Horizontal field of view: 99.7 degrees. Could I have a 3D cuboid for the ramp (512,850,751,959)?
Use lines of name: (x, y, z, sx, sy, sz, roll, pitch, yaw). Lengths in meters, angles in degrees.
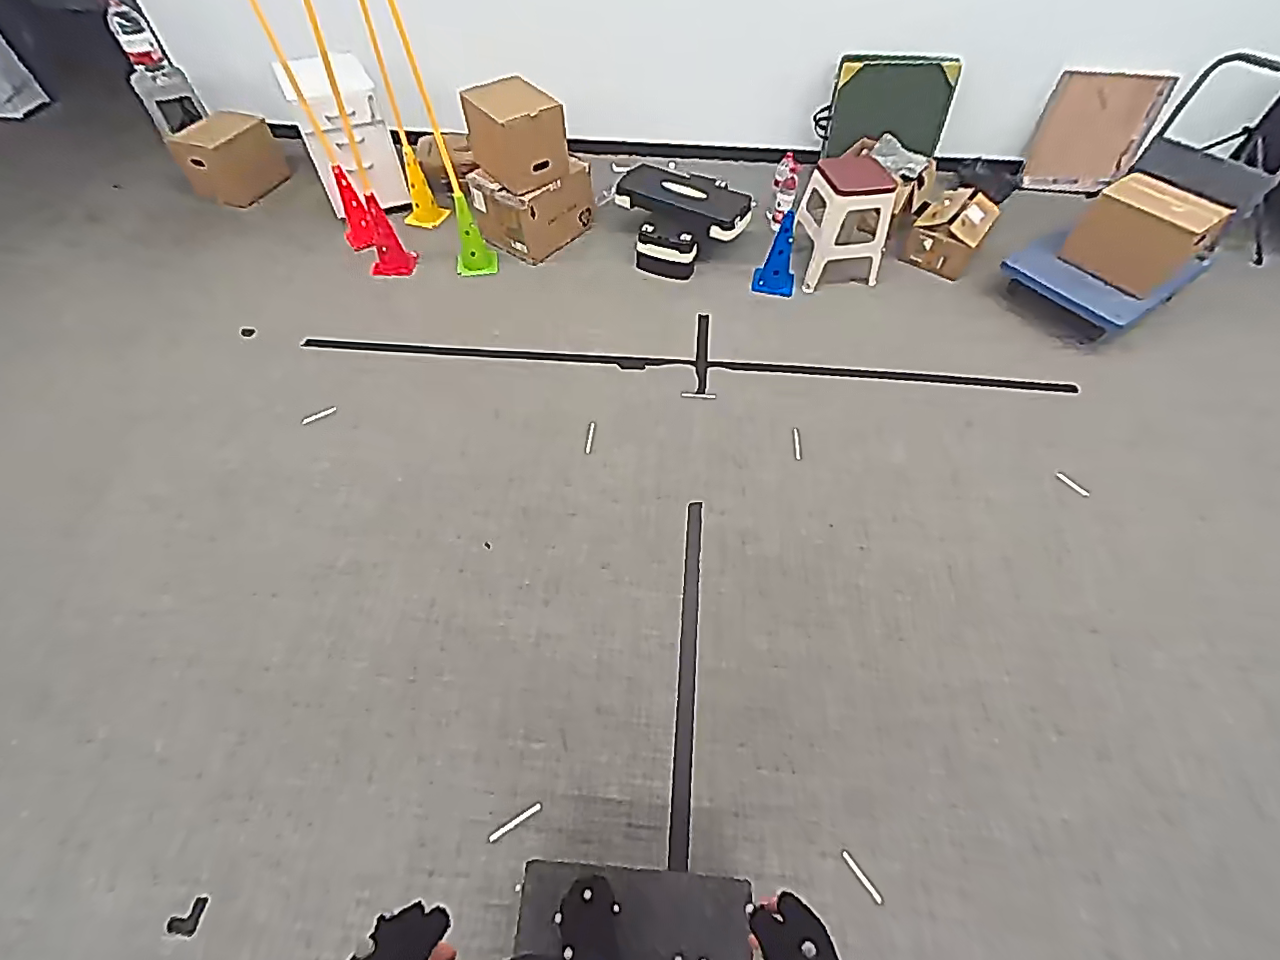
ramp: (-0.043, 1.275, 0.967, 0.509, 0.206, 0.991, 4, 55, 0)
